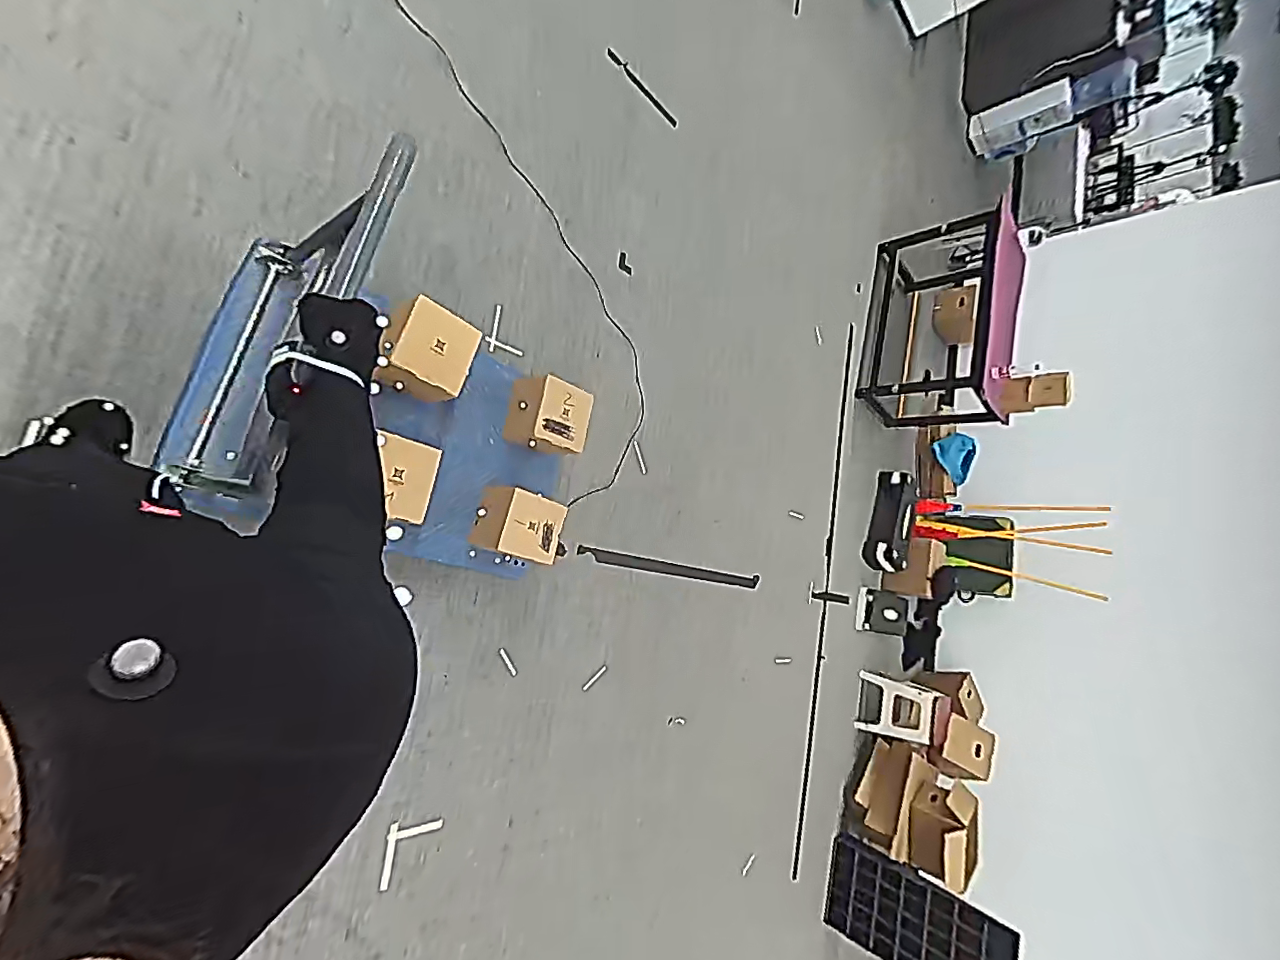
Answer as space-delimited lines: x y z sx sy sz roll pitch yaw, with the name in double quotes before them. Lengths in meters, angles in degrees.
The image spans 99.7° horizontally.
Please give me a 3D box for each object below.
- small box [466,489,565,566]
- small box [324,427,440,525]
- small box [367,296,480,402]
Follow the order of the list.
"small box" -0.337 0.125 1.464 0.179 0.176 0.168 26 72 -41
"small box" -0.583 -0.005 1.216 0.168 0.176 0.179 22 75 -43
"small box" -0.517 -0.301 1.283 0.168 0.176 0.179 29 72 -42
